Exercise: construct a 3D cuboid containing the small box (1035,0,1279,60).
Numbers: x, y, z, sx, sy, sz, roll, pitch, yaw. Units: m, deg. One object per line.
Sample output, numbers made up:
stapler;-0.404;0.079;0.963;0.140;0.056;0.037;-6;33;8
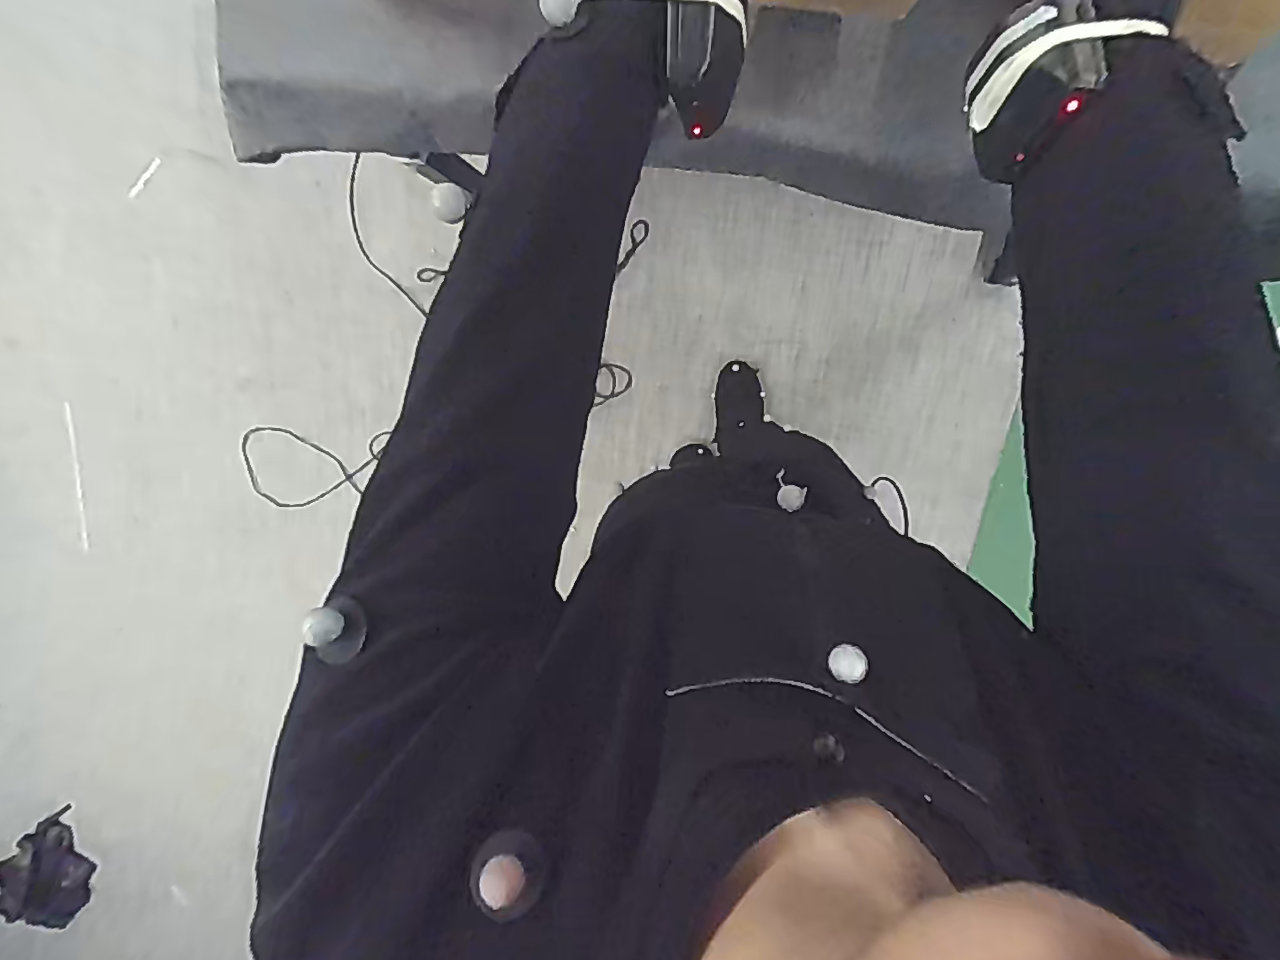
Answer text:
small box;0.434;-0.440;0.384;0.179;0.176;0.168;12;104;5
